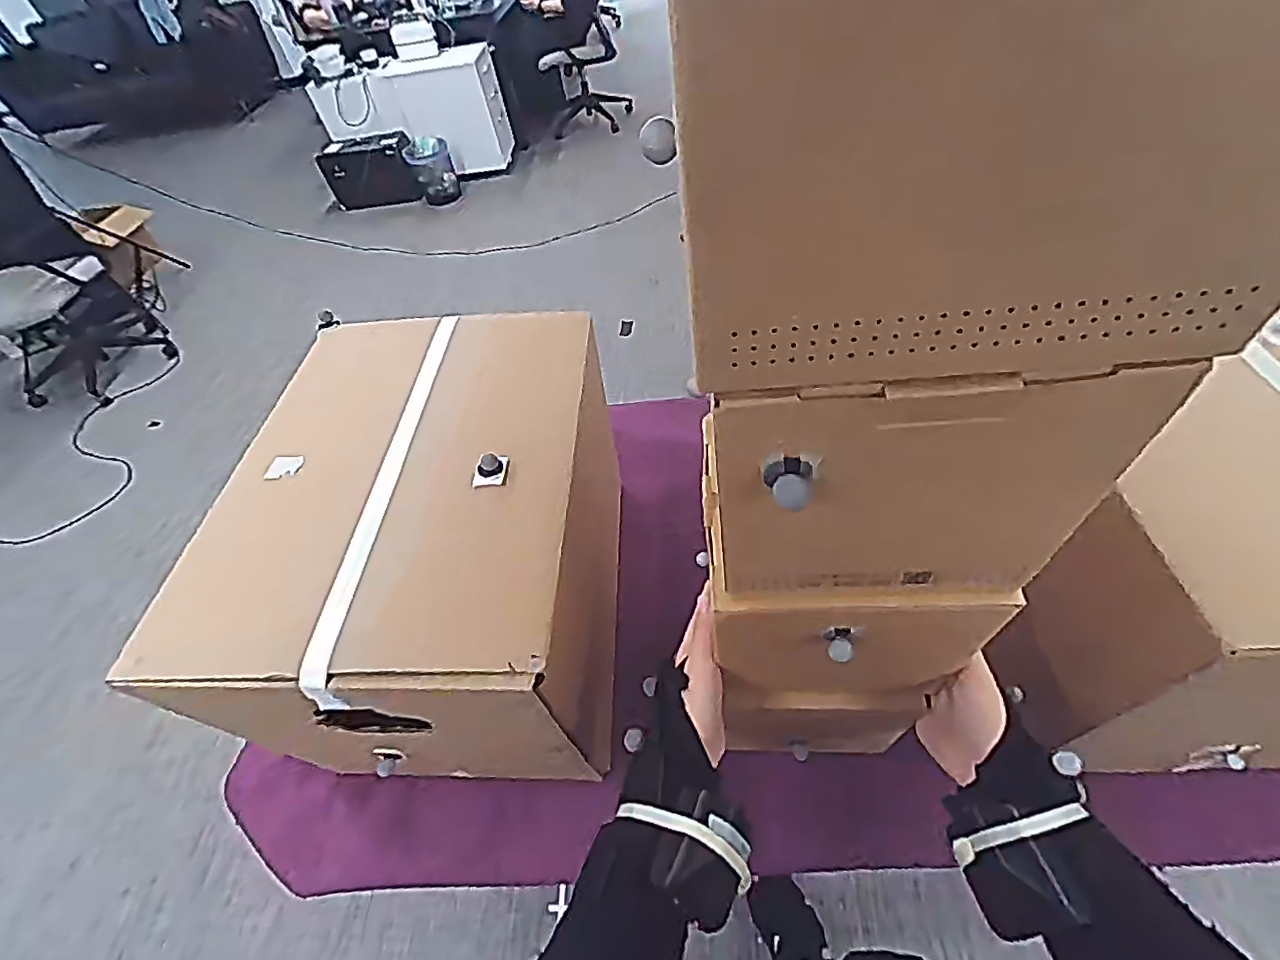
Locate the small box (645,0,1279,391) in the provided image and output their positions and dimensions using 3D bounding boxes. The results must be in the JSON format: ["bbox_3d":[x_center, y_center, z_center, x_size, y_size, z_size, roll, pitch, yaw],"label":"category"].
[{"bbox_3d":[0.096,-0.146,0.171,0.179,0.176,0.168,-3,51,9],"label":"small box"}]

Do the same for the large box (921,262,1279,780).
[{"bbox_3d":[0.499,0.036,0.532,0.320,0.320,0.408,-4,49,6],"label":"large box"}]

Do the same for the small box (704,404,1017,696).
[{"bbox_3d":[0.142,0.062,0.423,0.179,0.176,0.168,-4,53,9],"label":"small box"}]
